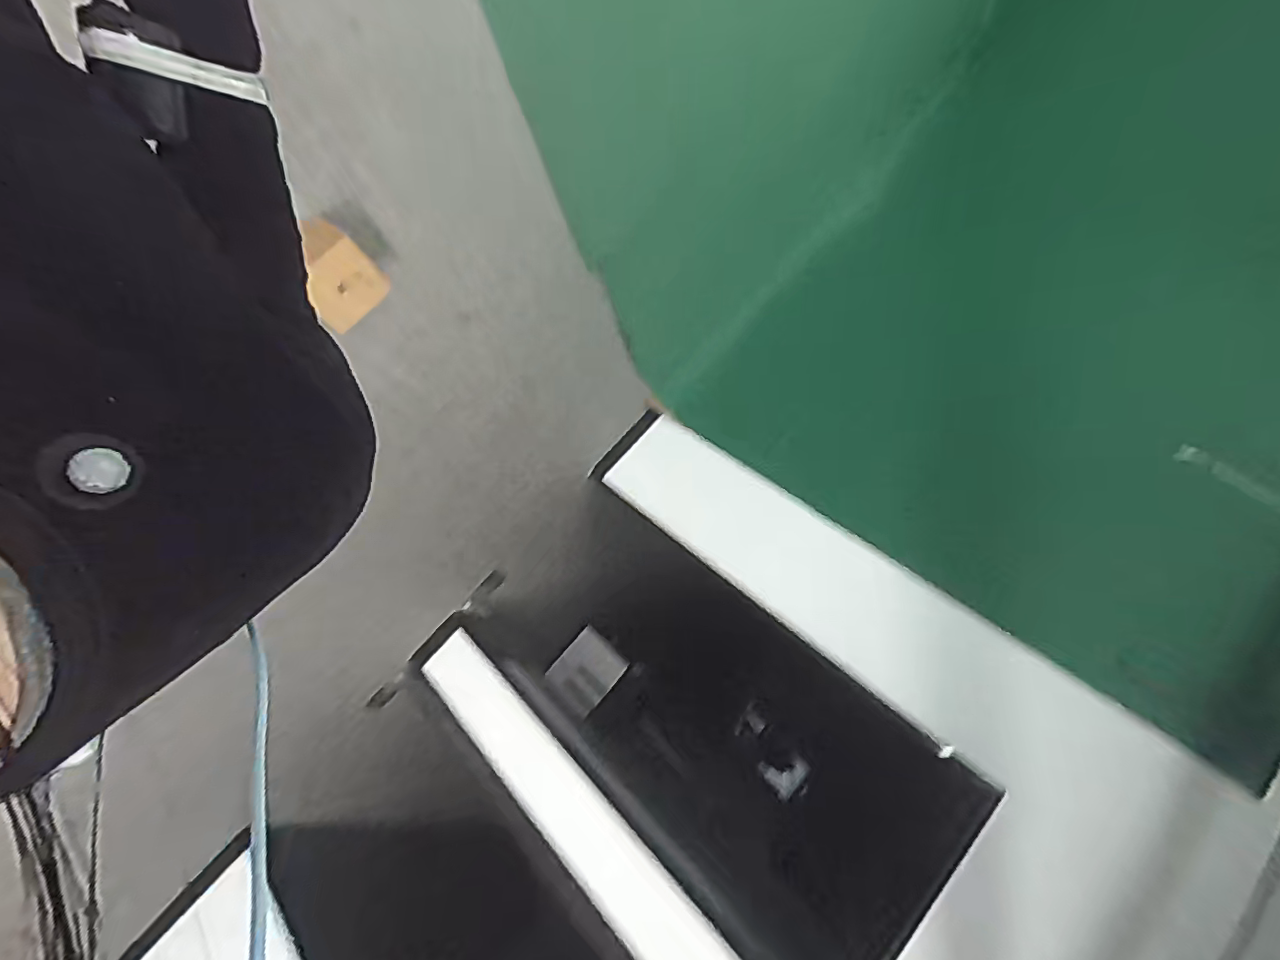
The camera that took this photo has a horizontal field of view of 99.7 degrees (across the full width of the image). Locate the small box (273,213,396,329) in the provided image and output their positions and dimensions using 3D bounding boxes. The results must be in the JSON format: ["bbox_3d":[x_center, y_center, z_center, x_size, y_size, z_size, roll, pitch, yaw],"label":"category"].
[{"bbox_3d":[-0.742,-0.506,1.305,0.179,0.176,0.168,-48,151,-11],"label":"small box"}]
